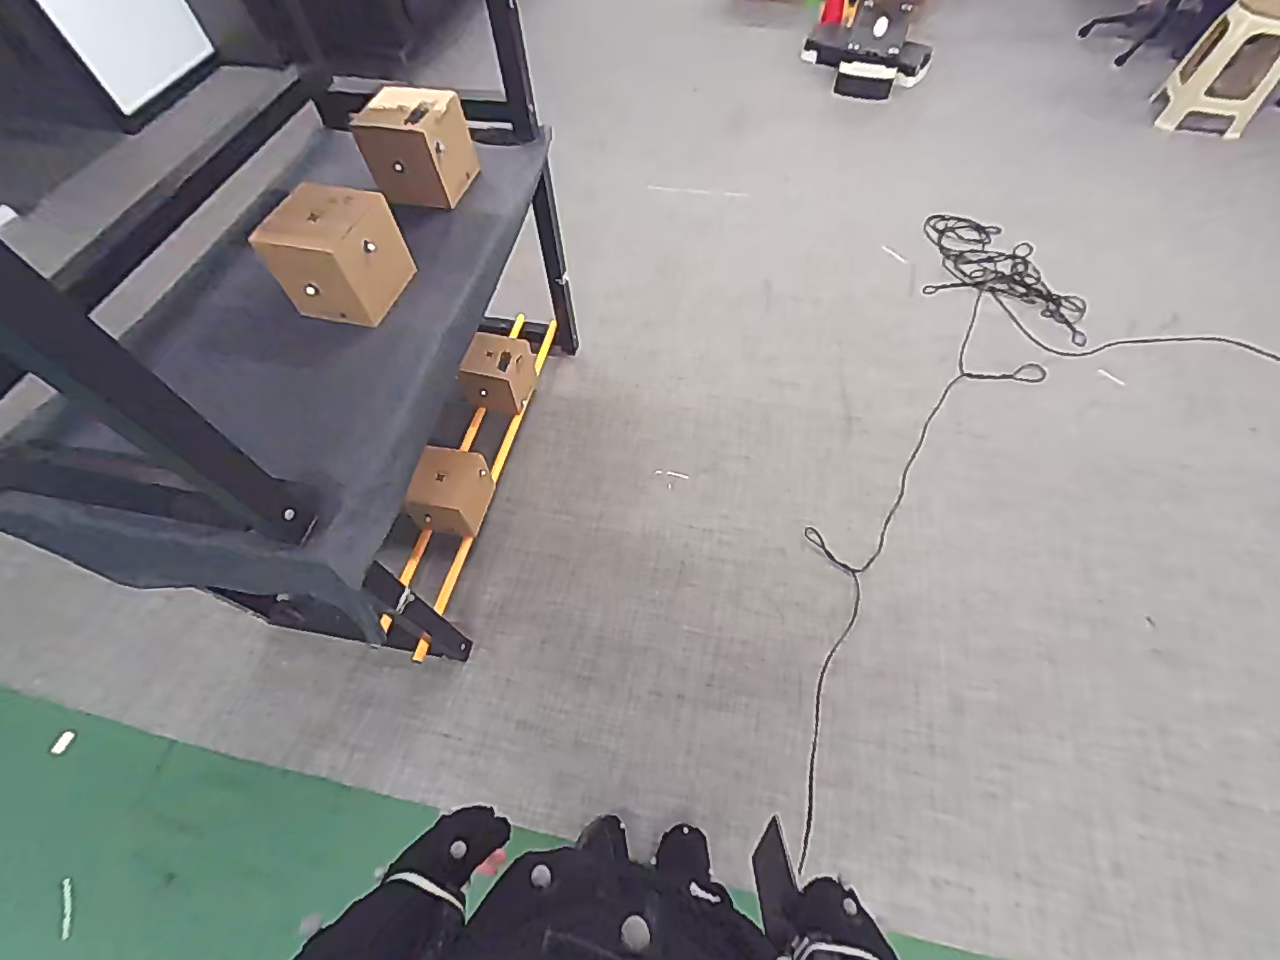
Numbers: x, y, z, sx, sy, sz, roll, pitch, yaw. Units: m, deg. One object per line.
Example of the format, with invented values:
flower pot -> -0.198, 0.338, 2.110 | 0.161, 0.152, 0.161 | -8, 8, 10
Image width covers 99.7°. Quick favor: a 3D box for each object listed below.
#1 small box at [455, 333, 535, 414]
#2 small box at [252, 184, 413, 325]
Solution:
small box -> -0.442, -0.326, 1.685 | 0.179, 0.176, 0.168 | 12, 59, 8
small box -> -0.557, -0.418, 1.013 | 0.168, 0.176, 0.179 | 12, 60, 8
